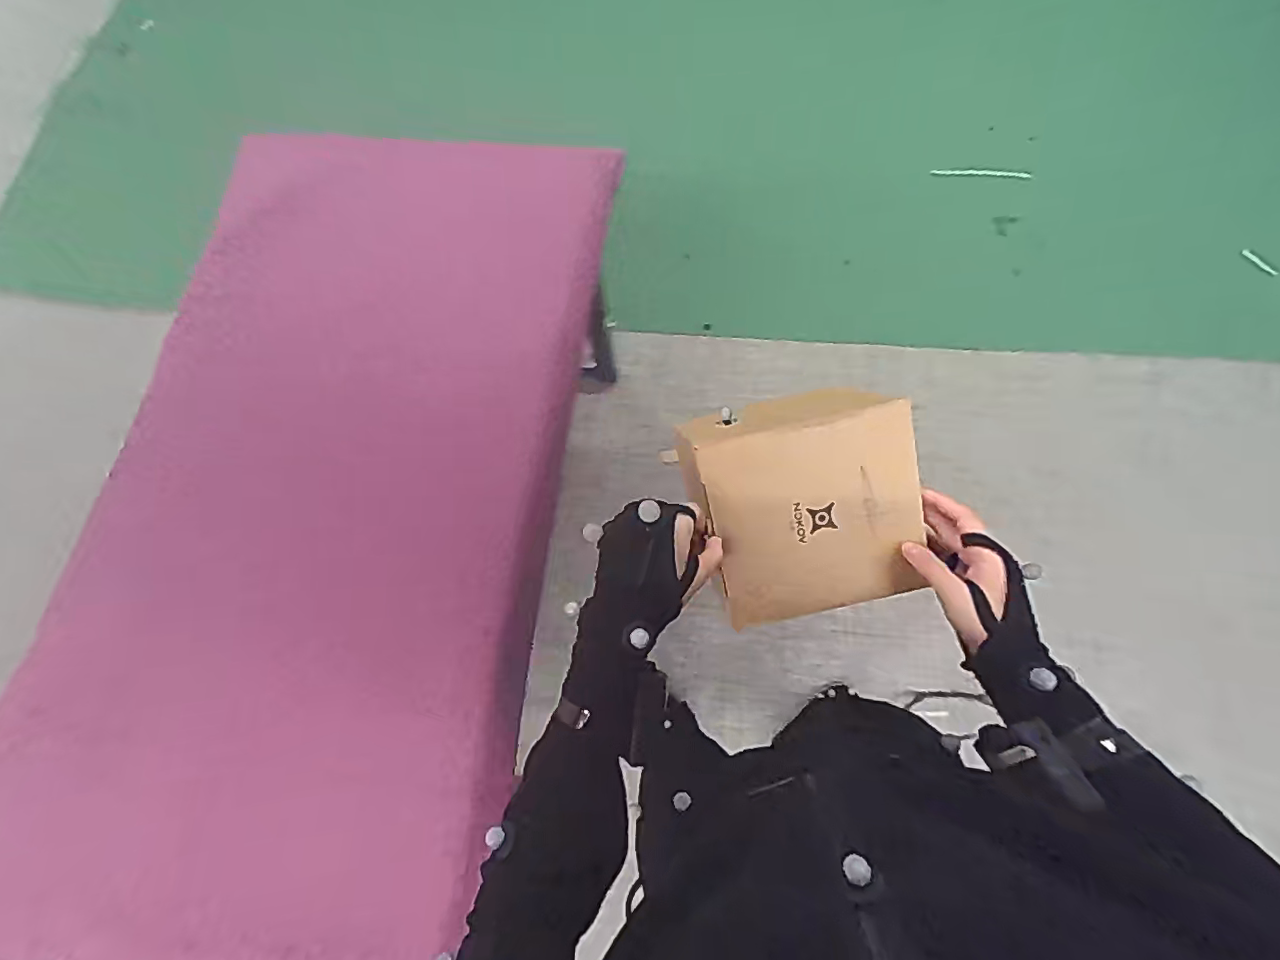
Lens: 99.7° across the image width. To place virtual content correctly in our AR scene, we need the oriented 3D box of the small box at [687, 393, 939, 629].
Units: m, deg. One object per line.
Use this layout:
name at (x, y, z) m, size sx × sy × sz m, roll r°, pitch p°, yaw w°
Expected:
small box at (0.145, 0.015, 0.512) m, size 0.179 × 0.176 × 0.168 m, roll -12°, pitch 102°, yaw 0°
